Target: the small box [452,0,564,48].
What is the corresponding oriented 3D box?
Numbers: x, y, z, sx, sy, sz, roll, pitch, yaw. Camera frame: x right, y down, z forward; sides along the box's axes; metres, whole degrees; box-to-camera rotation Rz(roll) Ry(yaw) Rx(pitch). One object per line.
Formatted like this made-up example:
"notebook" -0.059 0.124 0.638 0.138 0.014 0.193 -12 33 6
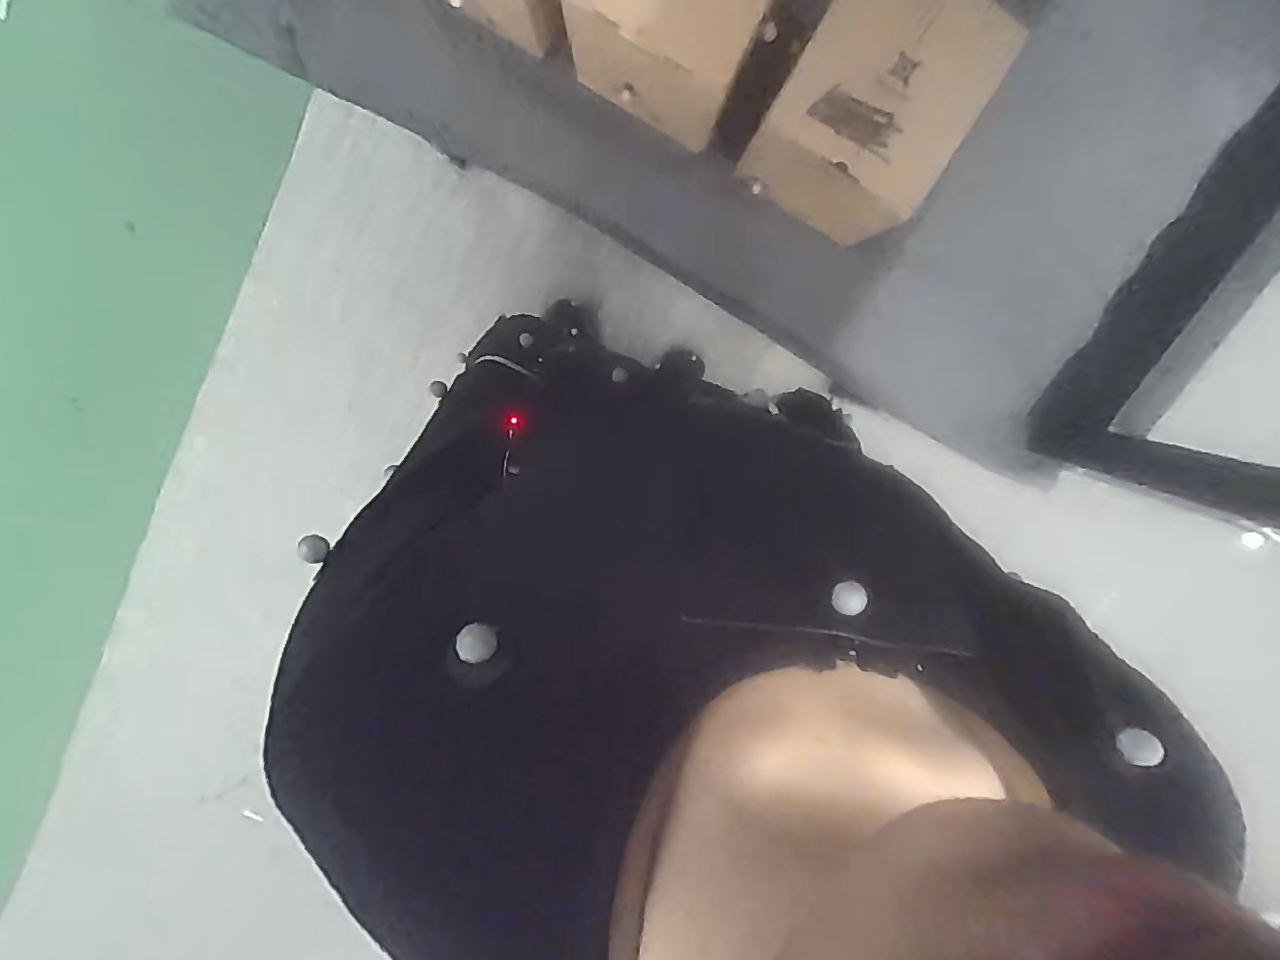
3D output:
"small box" -0.140 -0.568 0.501 0.168 0.176 0.179 27 103 -7
